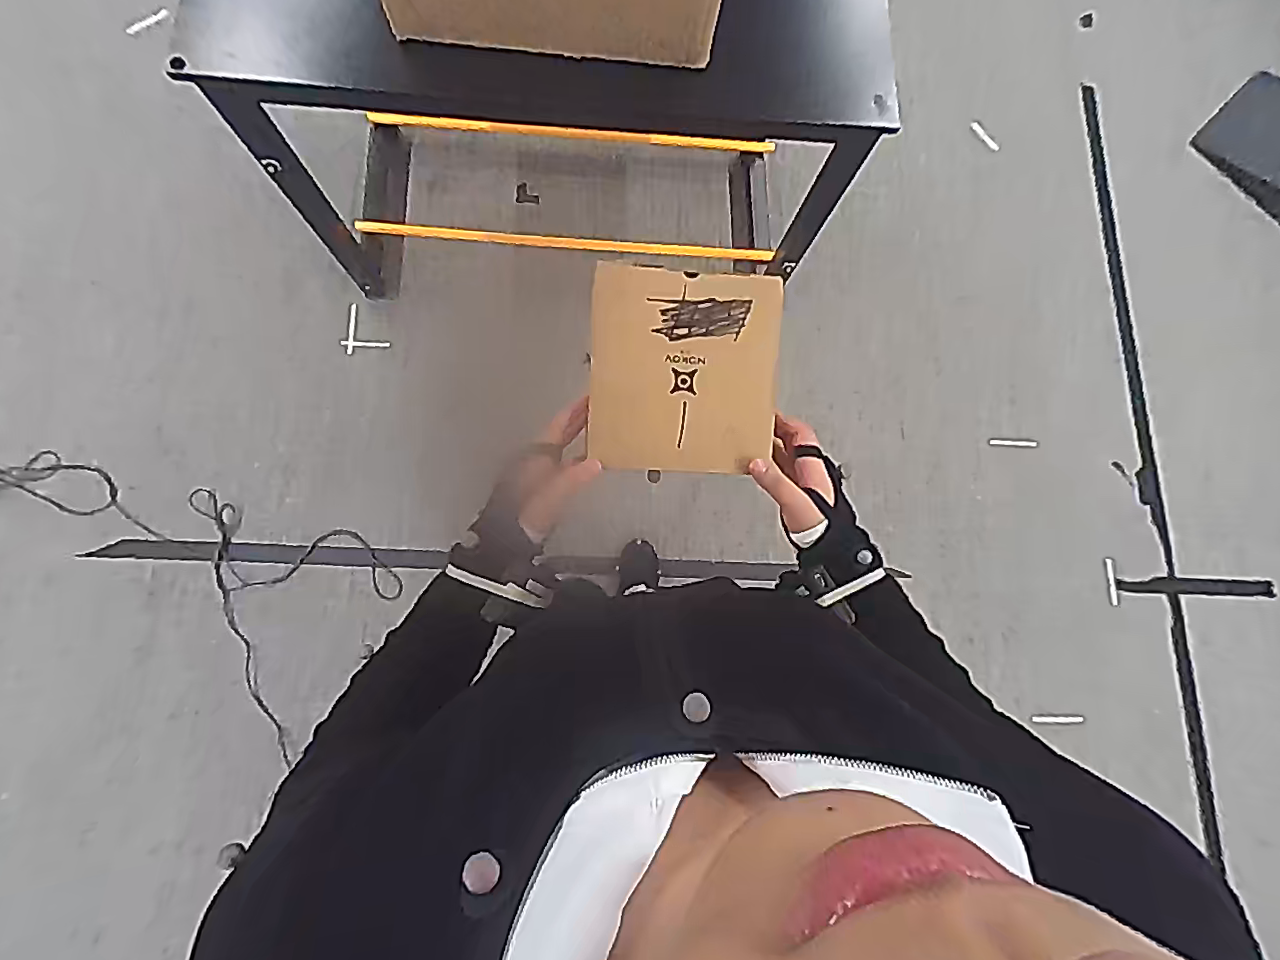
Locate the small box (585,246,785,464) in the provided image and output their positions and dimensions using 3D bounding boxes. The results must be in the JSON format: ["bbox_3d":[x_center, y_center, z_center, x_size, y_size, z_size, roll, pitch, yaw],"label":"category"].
[{"bbox_3d":[0.032,-0.109,0.539,0.168,0.176,0.179,2,94,-6],"label":"small box"}]
